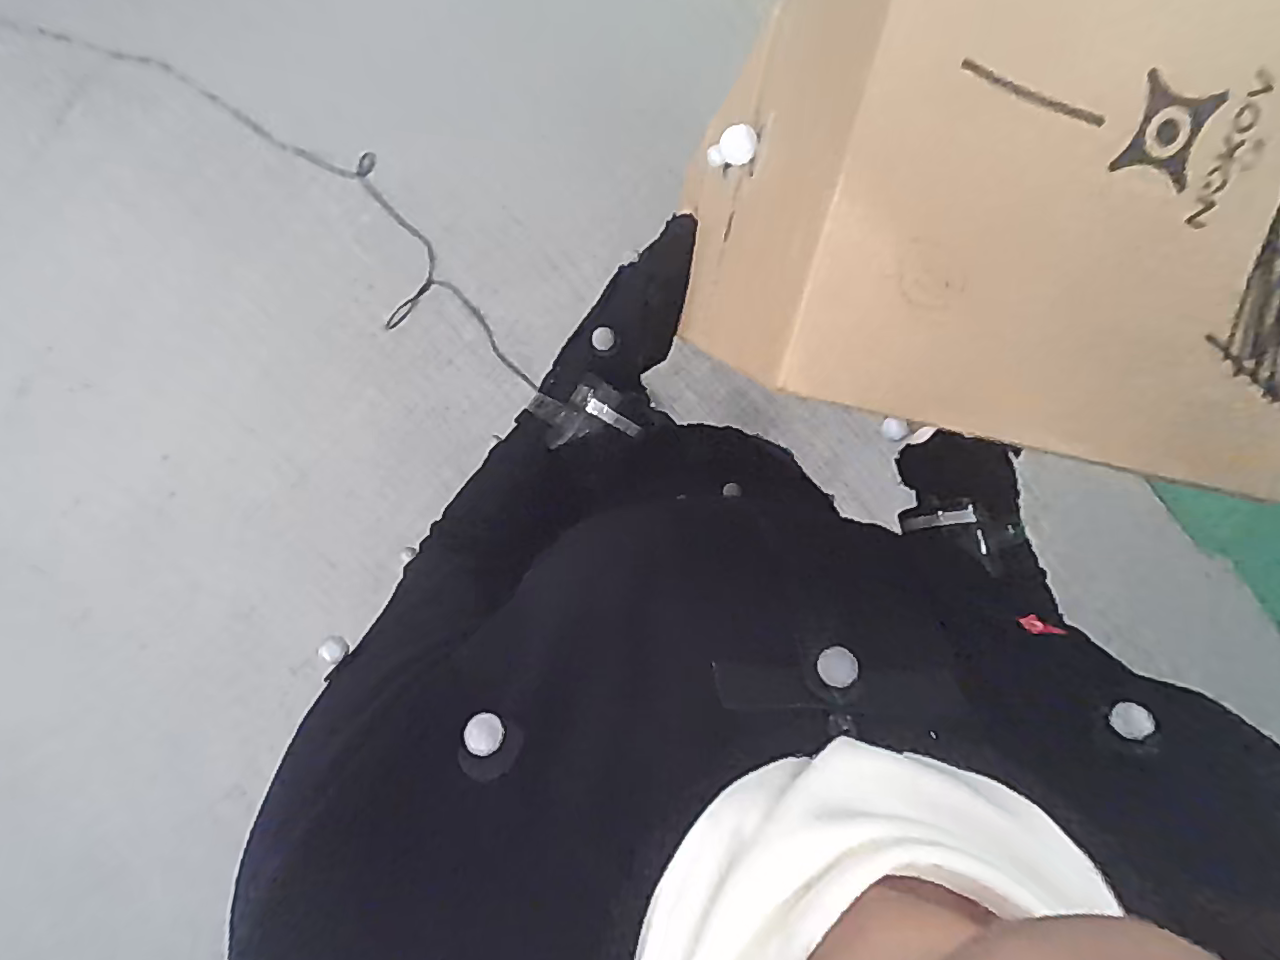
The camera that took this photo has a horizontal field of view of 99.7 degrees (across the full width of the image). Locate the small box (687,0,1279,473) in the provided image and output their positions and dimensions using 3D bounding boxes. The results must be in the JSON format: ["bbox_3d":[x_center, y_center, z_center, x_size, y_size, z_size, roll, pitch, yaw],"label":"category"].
[{"bbox_3d":[0.127,-0.117,0.214,0.179,0.176,0.168,11,107,-5],"label":"small box"}]

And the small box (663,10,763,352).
[{"bbox_3d":[0.119,-0.169,0.372,0.179,0.176,0.168,8,108,-5],"label":"small box"}]
